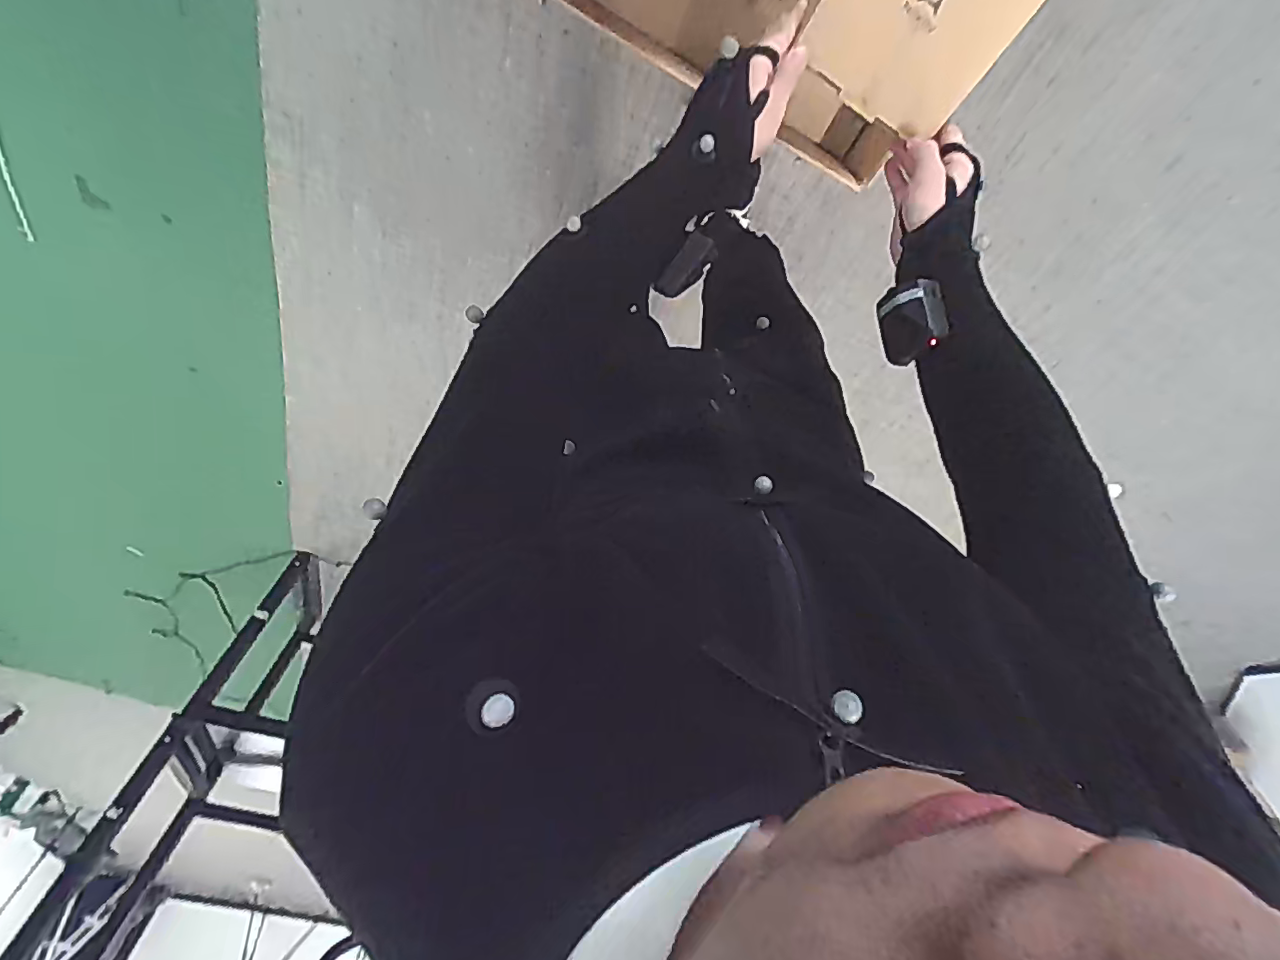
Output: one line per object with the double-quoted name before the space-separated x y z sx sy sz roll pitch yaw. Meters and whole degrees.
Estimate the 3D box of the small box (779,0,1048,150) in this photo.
"small box" 0.250 -0.462 0.509 0.168 0.176 0.179 23 131 -20
